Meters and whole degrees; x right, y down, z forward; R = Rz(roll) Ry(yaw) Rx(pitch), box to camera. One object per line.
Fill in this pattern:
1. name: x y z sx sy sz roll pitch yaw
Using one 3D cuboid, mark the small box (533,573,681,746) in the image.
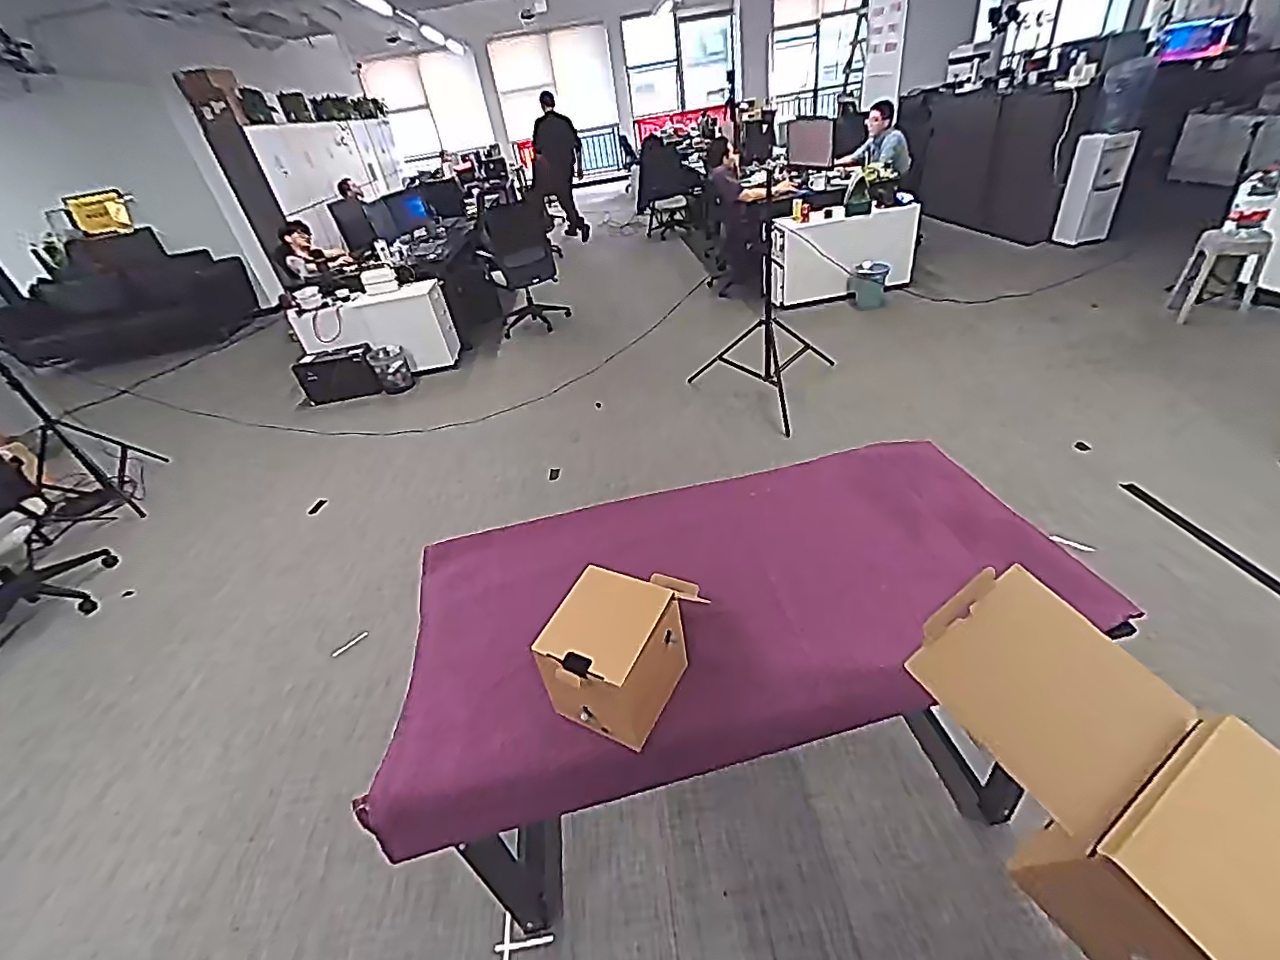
1. small box: -0.042 0.286 0.877 0.168 0.176 0.179 11 39 29
